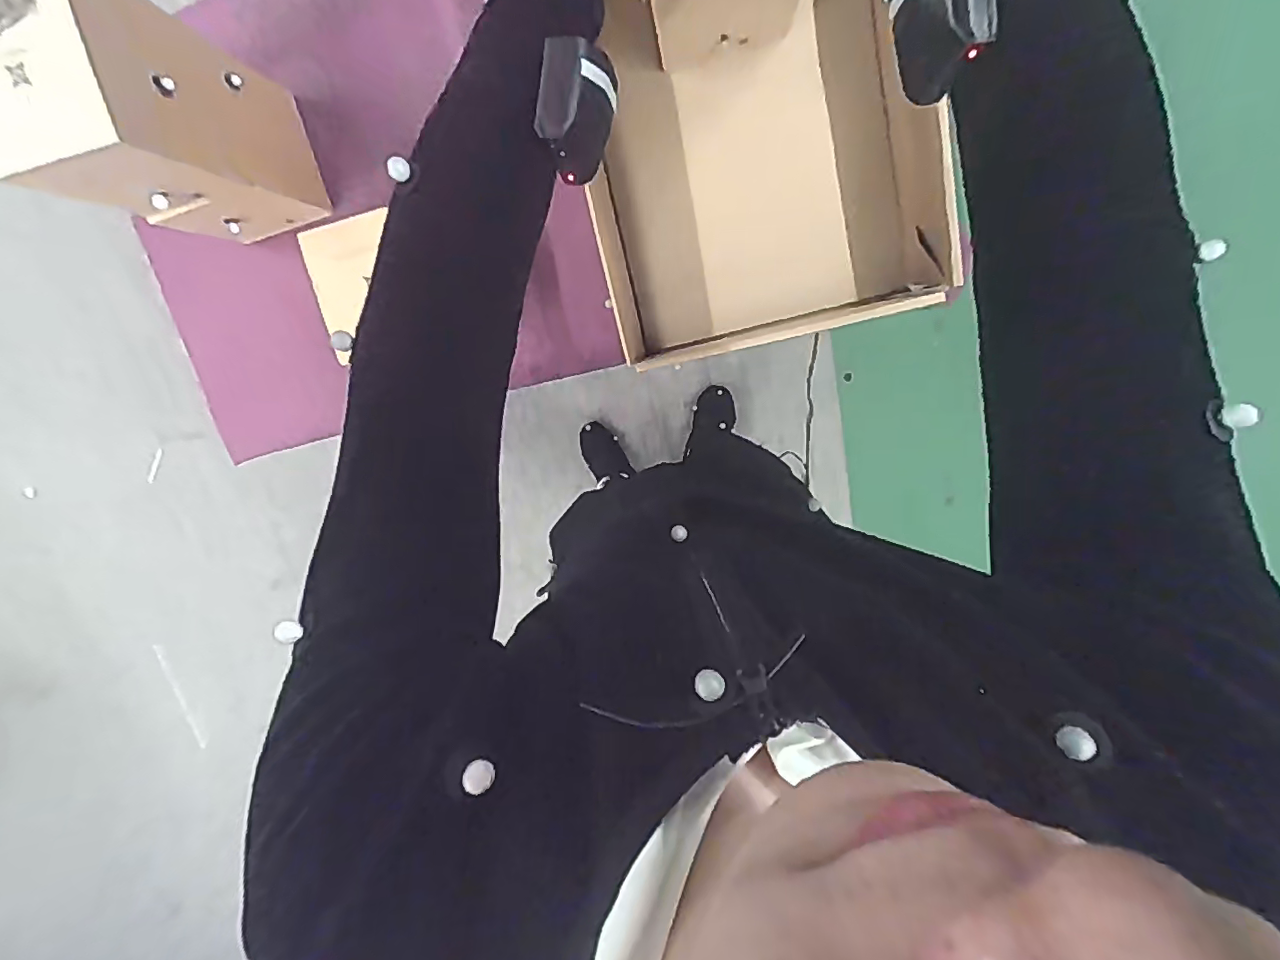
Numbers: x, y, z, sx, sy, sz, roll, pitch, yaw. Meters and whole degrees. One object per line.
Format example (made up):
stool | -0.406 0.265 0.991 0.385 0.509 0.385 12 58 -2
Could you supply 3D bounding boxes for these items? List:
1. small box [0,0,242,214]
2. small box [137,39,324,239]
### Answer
small box | -0.599 -0.422 0.600 0.168 0.176 0.179 -9 103 8
small box | -0.589 -0.455 0.761 0.168 0.176 0.179 -13 101 9
